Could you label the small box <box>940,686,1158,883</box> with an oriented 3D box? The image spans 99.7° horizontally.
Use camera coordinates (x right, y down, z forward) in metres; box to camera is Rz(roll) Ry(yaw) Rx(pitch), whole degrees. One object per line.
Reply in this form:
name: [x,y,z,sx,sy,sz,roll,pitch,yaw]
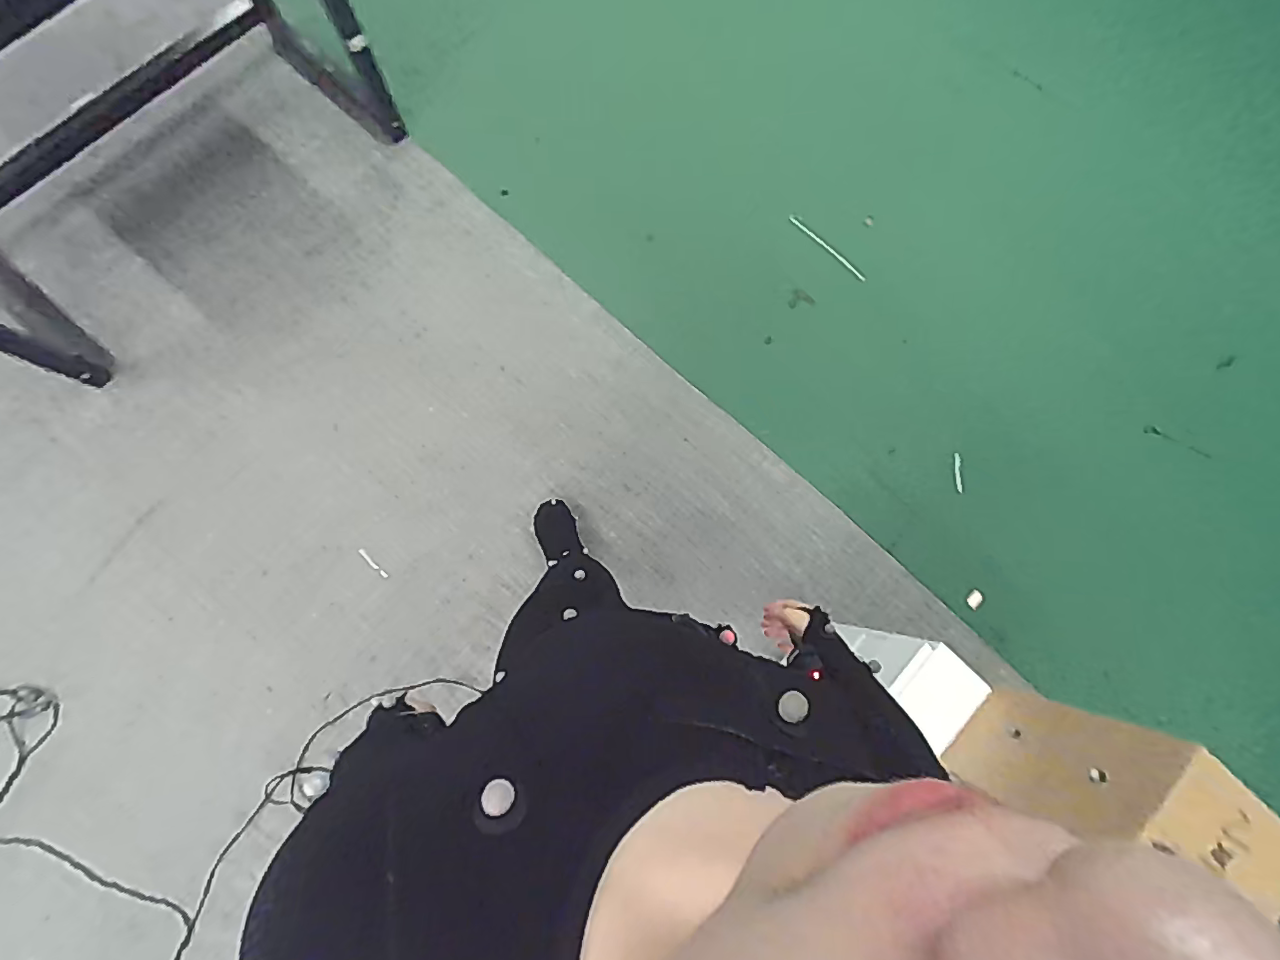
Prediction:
small box: [0.614,0.449,0.836,0.168,0.176,0.179,44,82,5]
